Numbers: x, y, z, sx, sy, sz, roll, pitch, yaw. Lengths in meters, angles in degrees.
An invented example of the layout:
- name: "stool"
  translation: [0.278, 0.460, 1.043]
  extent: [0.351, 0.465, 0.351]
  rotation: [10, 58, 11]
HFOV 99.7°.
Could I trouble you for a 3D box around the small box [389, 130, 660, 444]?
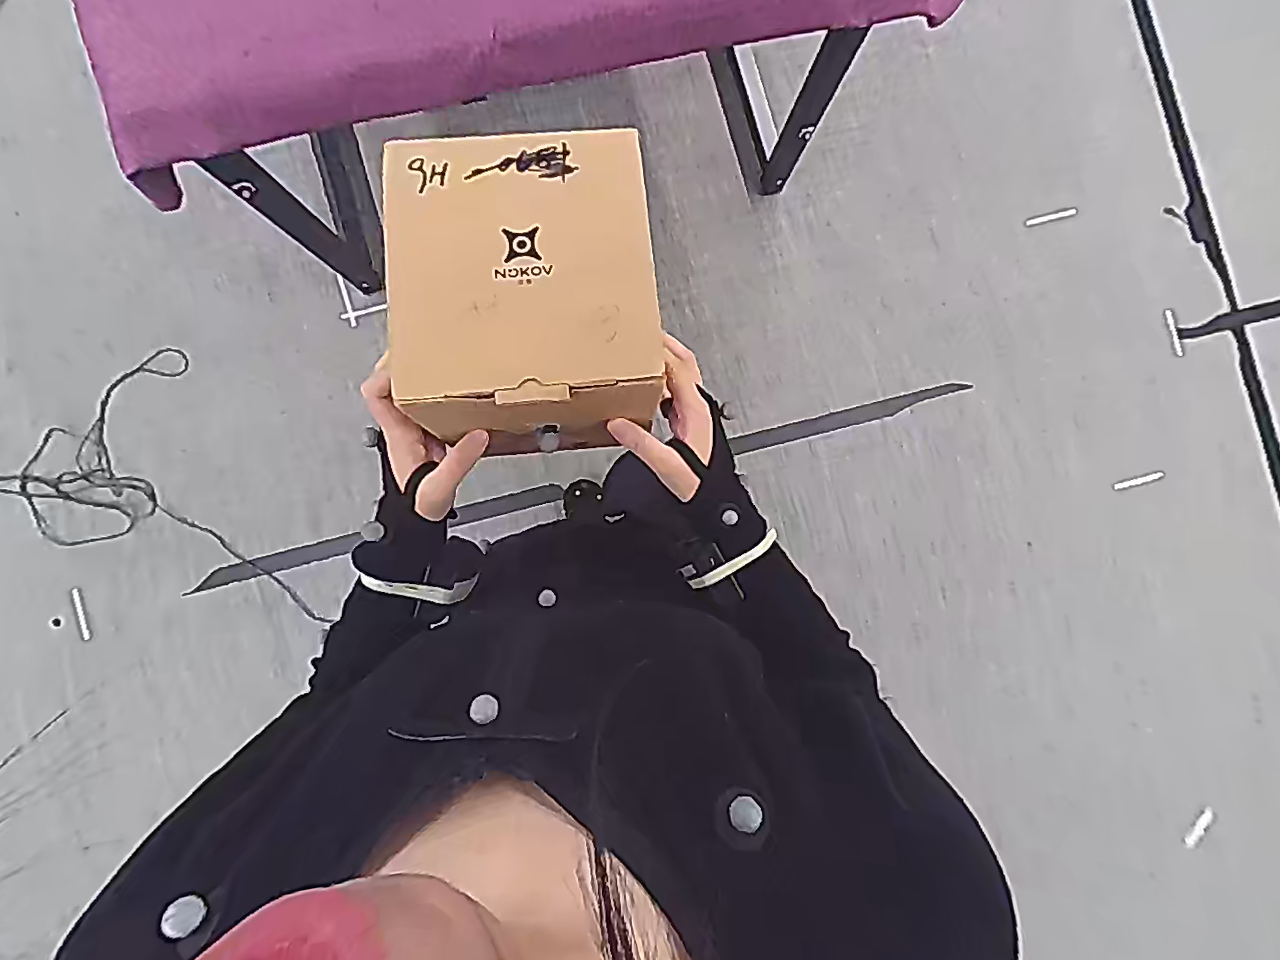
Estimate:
- name: "small box"
  translation: [-0.077, -0.128, 0.418]
  extent: [0.168, 0.176, 0.179]
  rotation: [-4, 82, -4]
